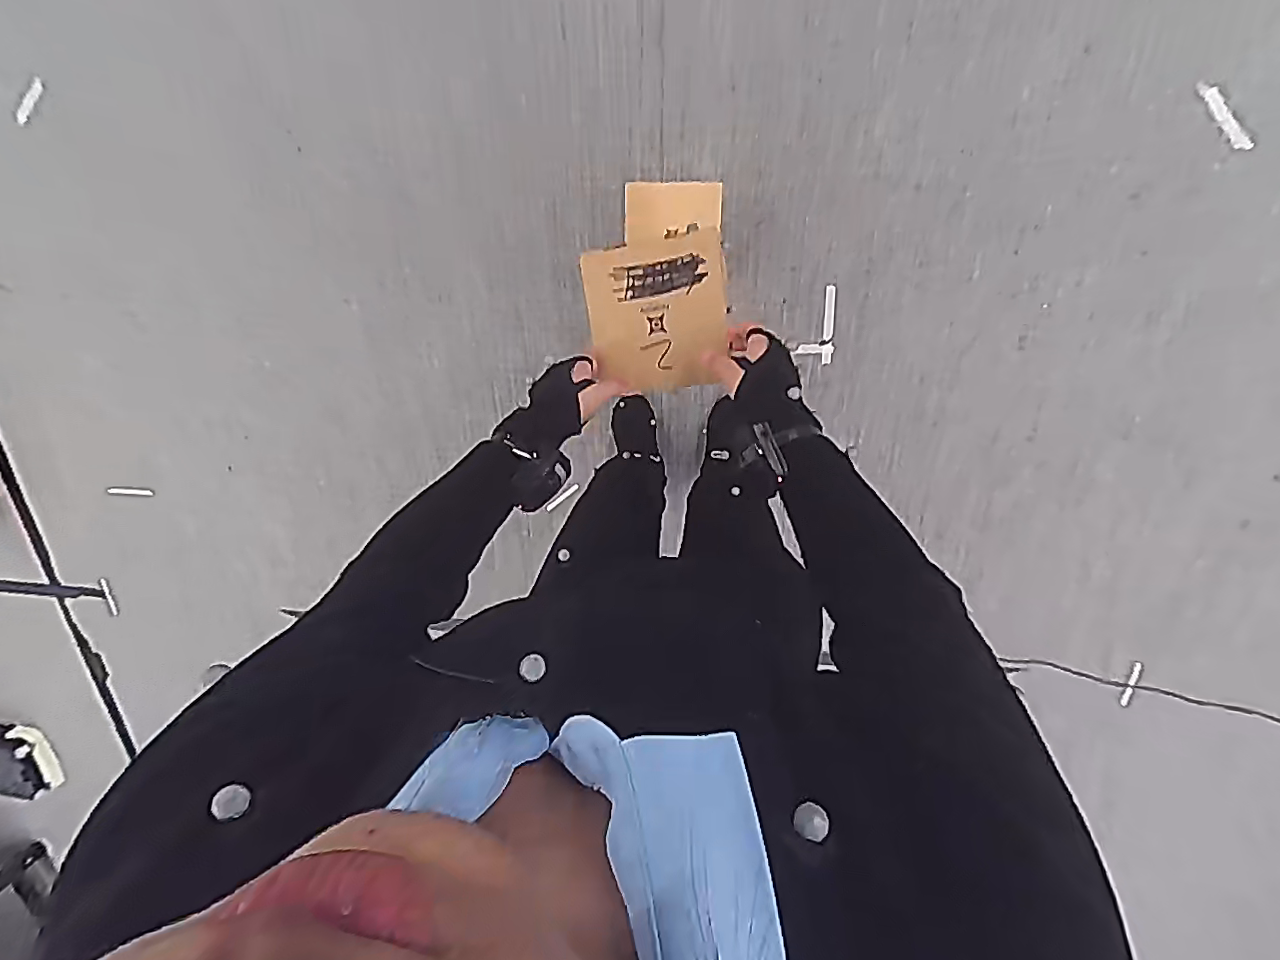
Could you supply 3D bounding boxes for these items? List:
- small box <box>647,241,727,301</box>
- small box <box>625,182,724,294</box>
[{"bbox_3d":[0.091,-0.488,1.155,0.168,0.176,0.179,-9,108,11],"label":"small box"},{"bbox_3d":[0.064,-0.440,1.001,0.168,0.176,0.179,3,110,6],"label":"small box"}]
